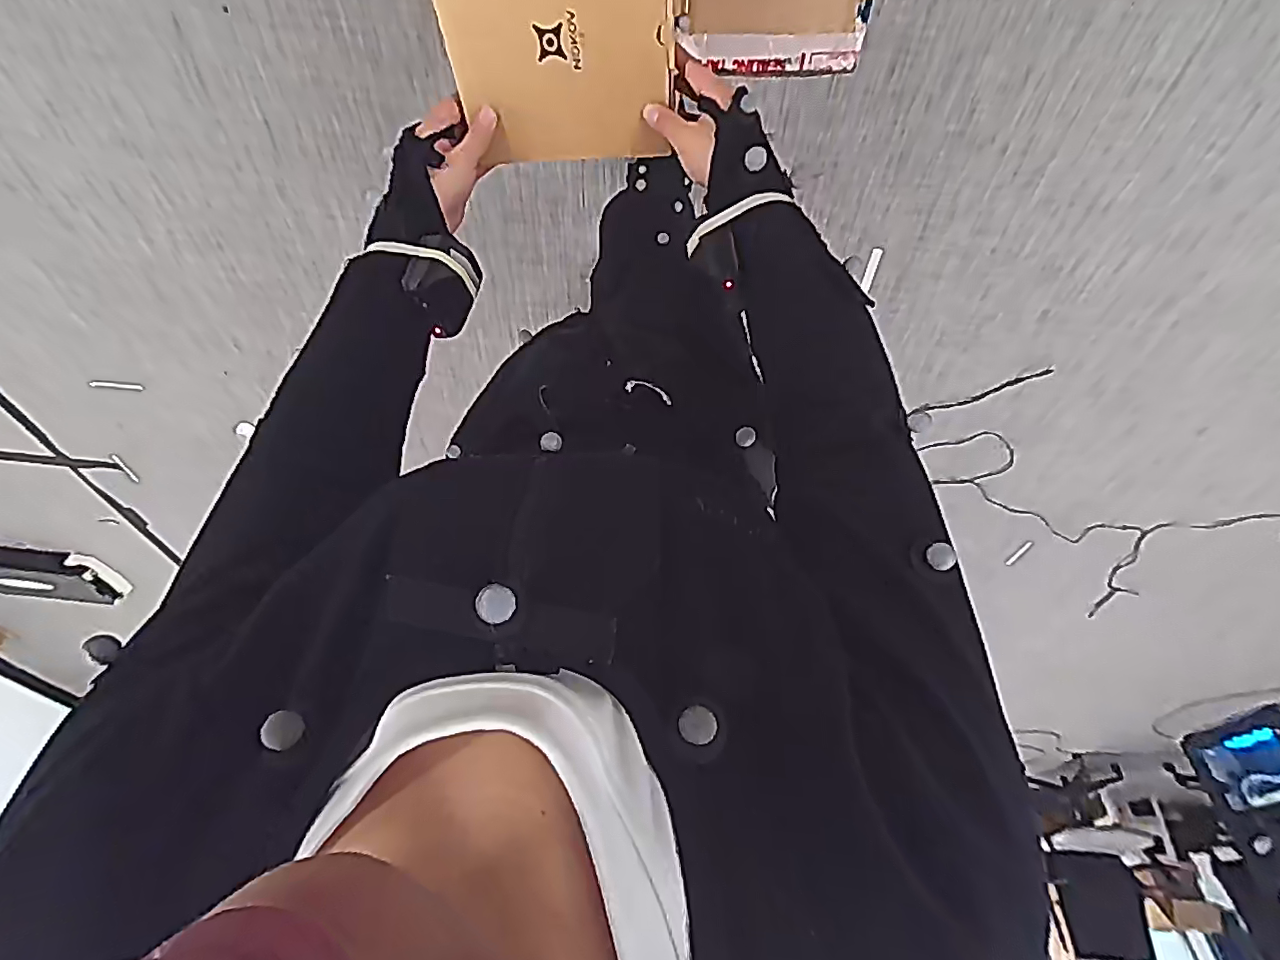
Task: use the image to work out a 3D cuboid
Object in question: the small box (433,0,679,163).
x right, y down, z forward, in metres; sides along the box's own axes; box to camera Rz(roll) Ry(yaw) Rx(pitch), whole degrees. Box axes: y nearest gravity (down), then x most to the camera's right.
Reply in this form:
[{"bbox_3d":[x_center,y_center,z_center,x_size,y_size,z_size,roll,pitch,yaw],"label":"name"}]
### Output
[{"bbox_3d":[-0.057,-0.393,0.461,0.179,0.176,0.168,0,140,5],"label":"small box"}]
